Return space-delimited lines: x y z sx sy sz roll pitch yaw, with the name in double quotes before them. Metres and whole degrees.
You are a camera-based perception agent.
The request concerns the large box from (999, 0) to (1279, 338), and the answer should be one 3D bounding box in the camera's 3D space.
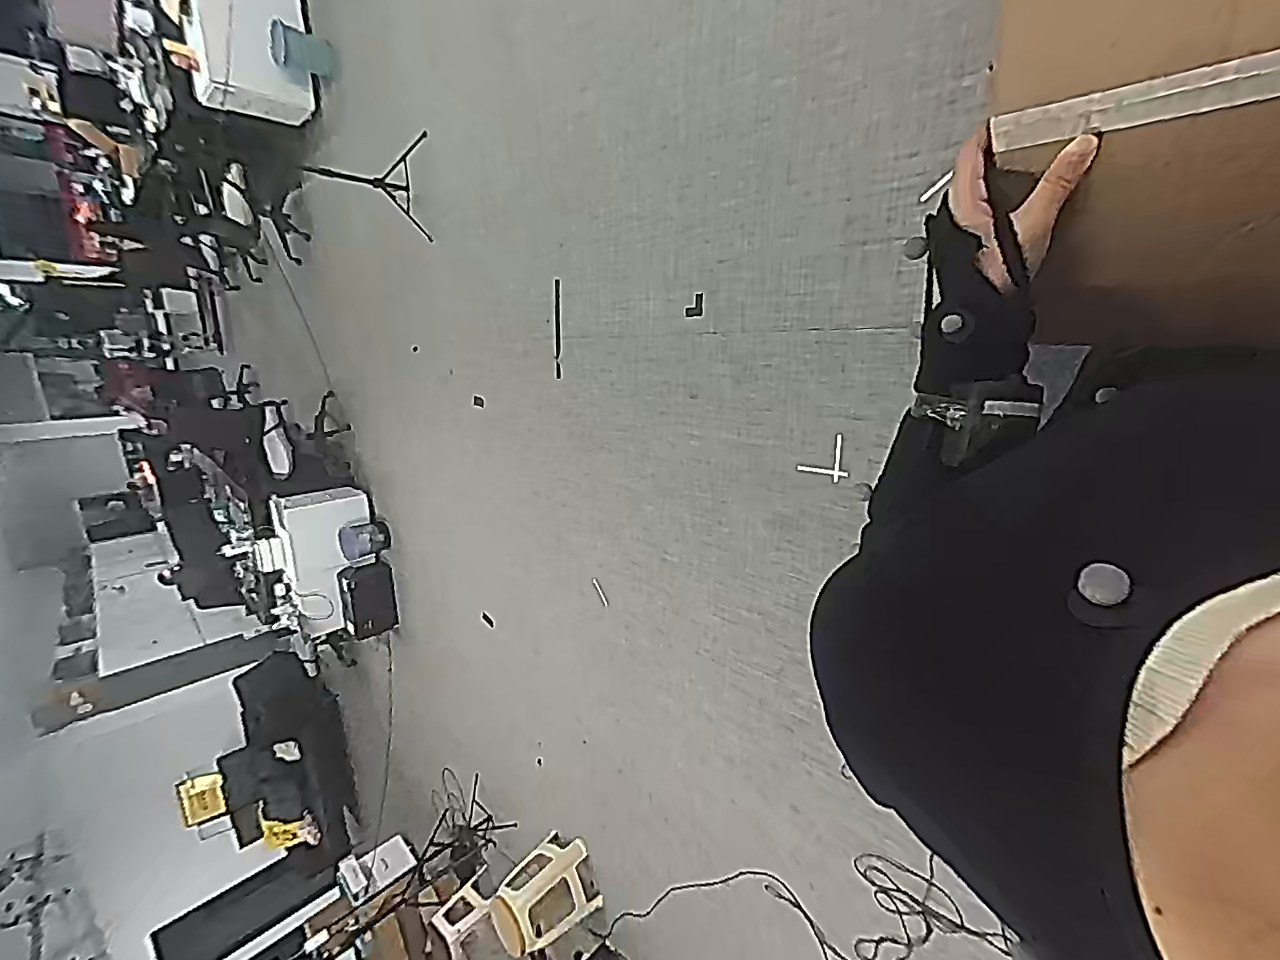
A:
"large box" 0.462 -0.295 0.281 0.408 0.320 0.320 13 142 44
